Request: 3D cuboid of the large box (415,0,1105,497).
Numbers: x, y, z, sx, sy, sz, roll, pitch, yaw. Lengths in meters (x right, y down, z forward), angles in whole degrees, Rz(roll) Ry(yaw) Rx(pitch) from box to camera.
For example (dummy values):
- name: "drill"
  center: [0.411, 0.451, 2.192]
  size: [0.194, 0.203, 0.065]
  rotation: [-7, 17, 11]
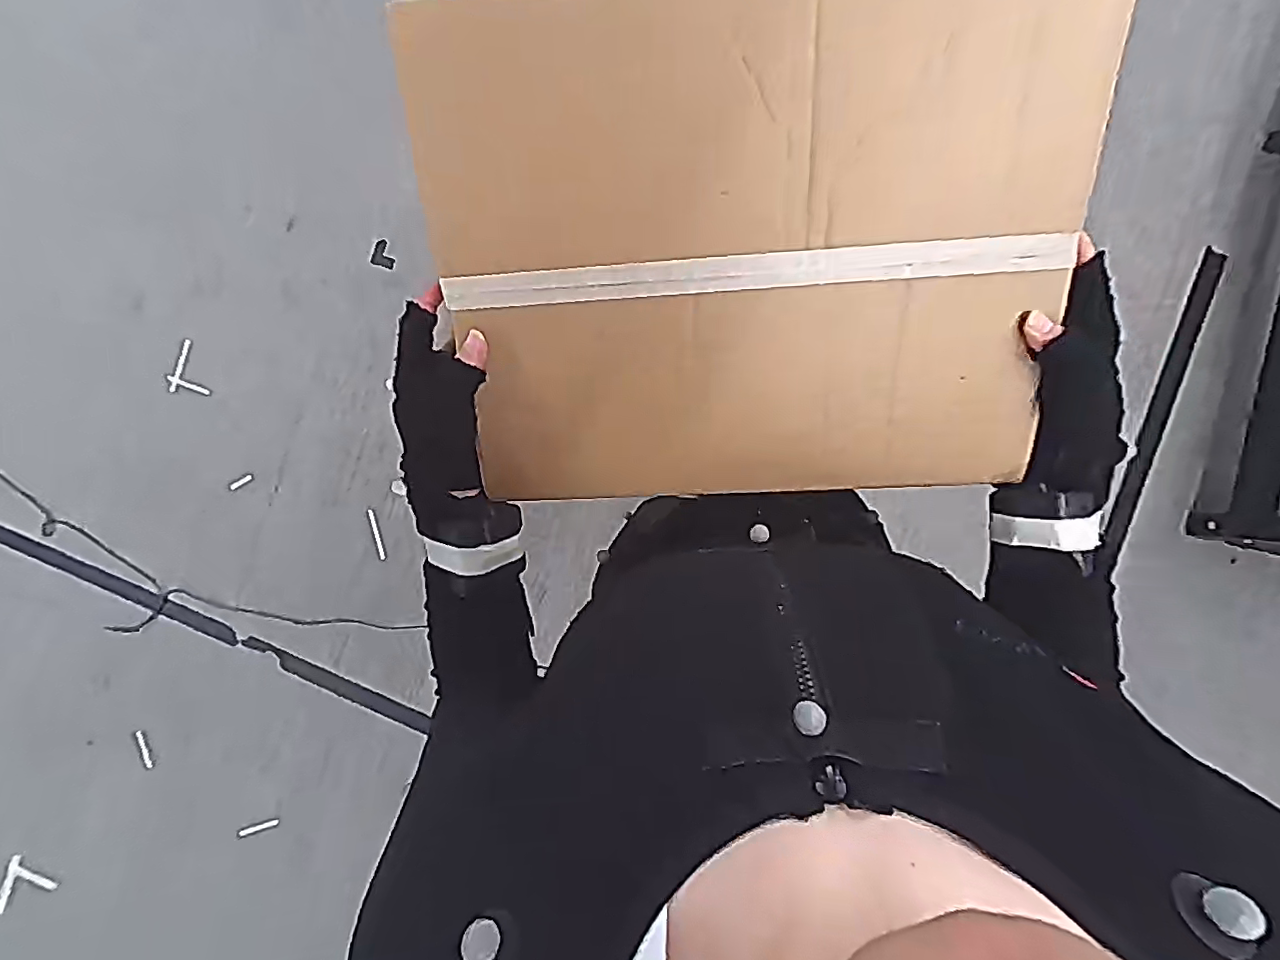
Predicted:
- name: "large box"
  center: [0.077, -0.195, 0.503]
  size: [0.408, 0.320, 0.320]
  rotation: [-2, 114, 4]
